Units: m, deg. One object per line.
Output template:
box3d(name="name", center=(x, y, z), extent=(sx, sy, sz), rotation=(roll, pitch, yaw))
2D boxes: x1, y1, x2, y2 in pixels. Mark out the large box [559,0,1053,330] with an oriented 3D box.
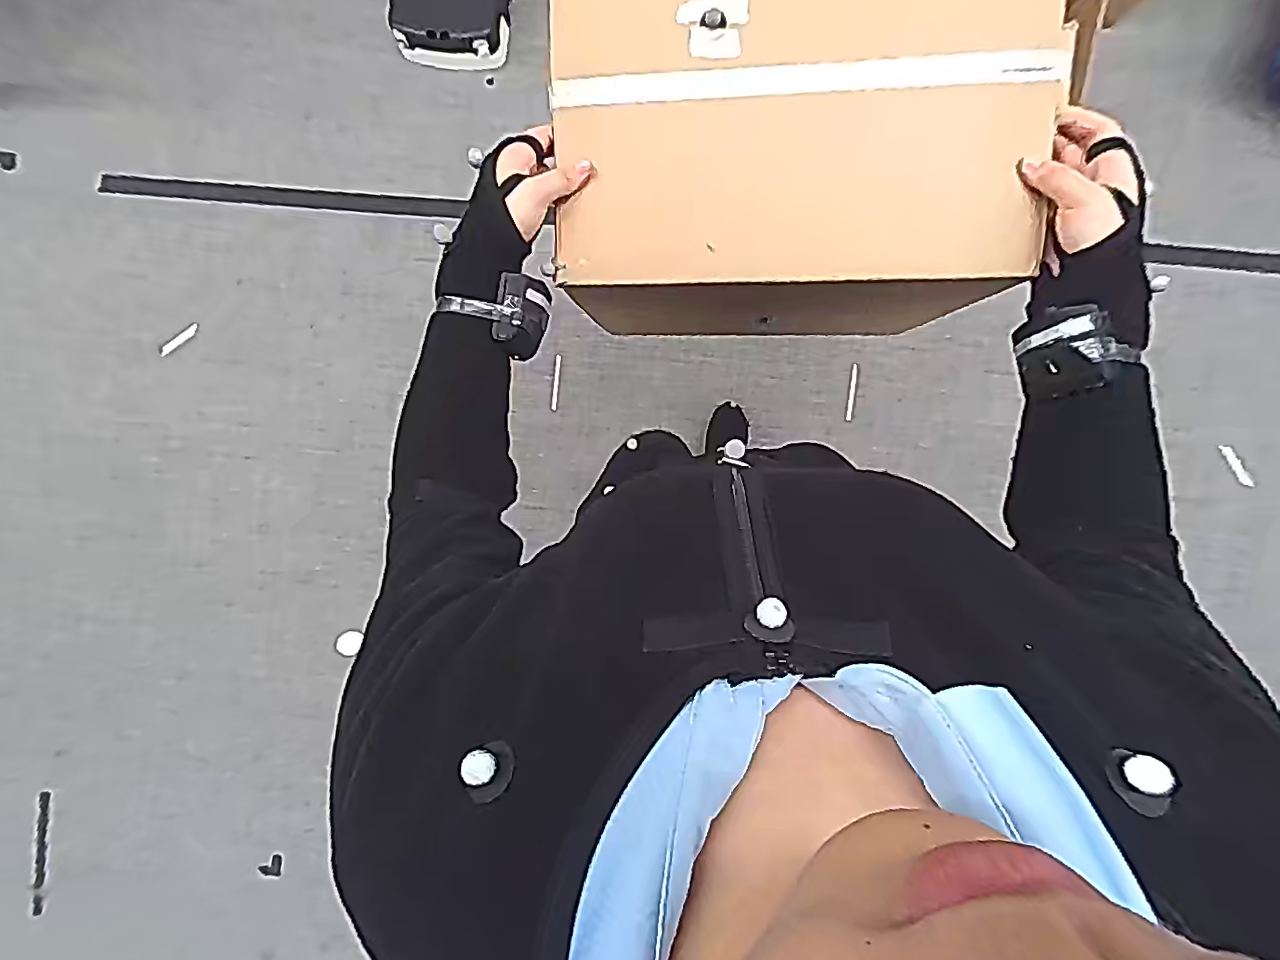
box3d(name="large box", center=(0.147, -0.349, 0.599), extent=(0.408, 0.320, 0.320), rotation=(1, 96, 7))
